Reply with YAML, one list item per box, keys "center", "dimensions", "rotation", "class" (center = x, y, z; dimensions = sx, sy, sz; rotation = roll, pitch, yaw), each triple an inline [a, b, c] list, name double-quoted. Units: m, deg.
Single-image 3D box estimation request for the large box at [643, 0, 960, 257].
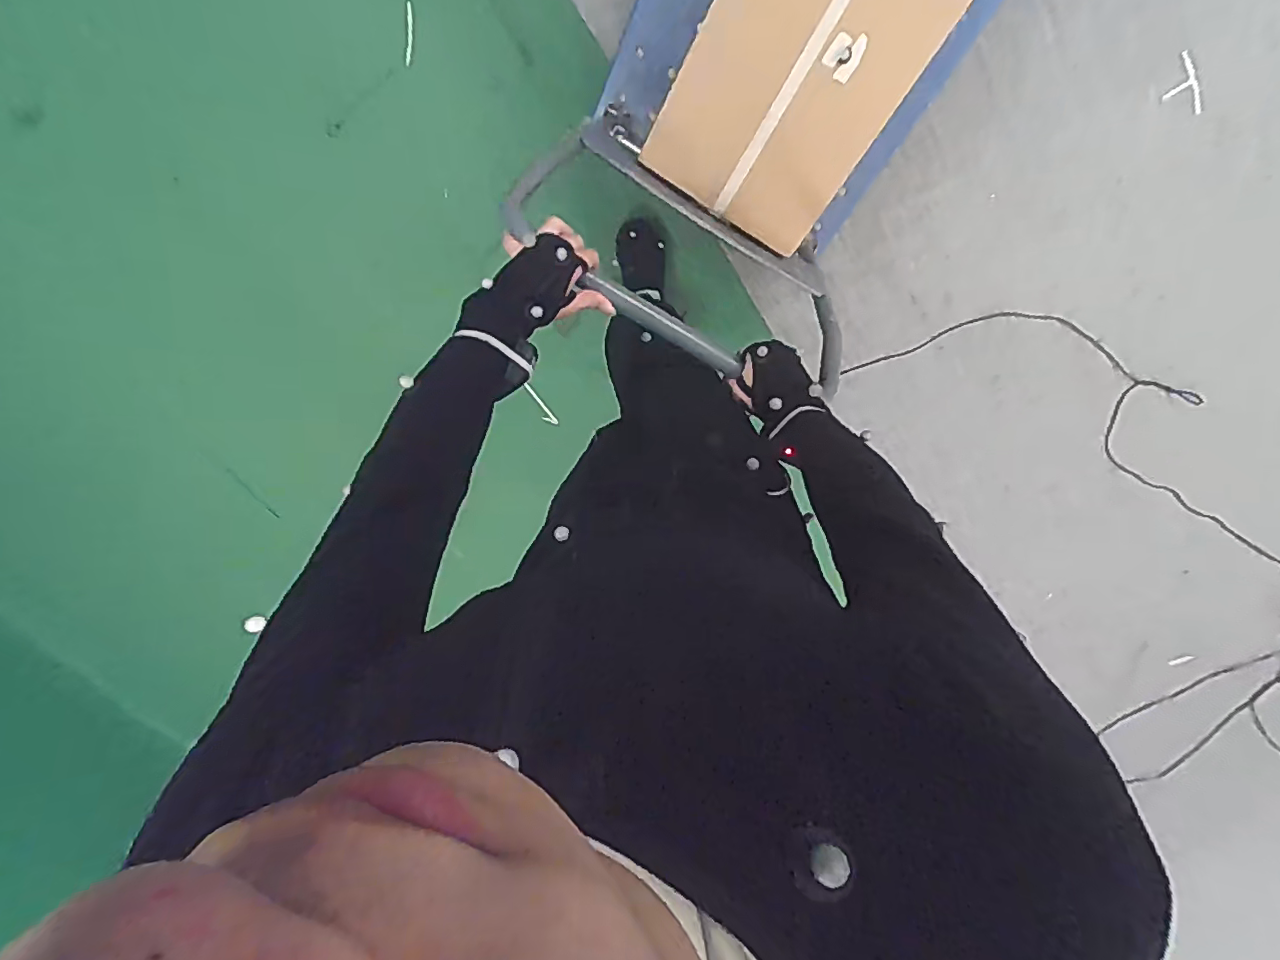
- center: [0.247, -0.686, 0.959]
  dimensions: [0.320, 0.320, 0.408]
  rotation: [28, 124, -11]
  class: "large box"
